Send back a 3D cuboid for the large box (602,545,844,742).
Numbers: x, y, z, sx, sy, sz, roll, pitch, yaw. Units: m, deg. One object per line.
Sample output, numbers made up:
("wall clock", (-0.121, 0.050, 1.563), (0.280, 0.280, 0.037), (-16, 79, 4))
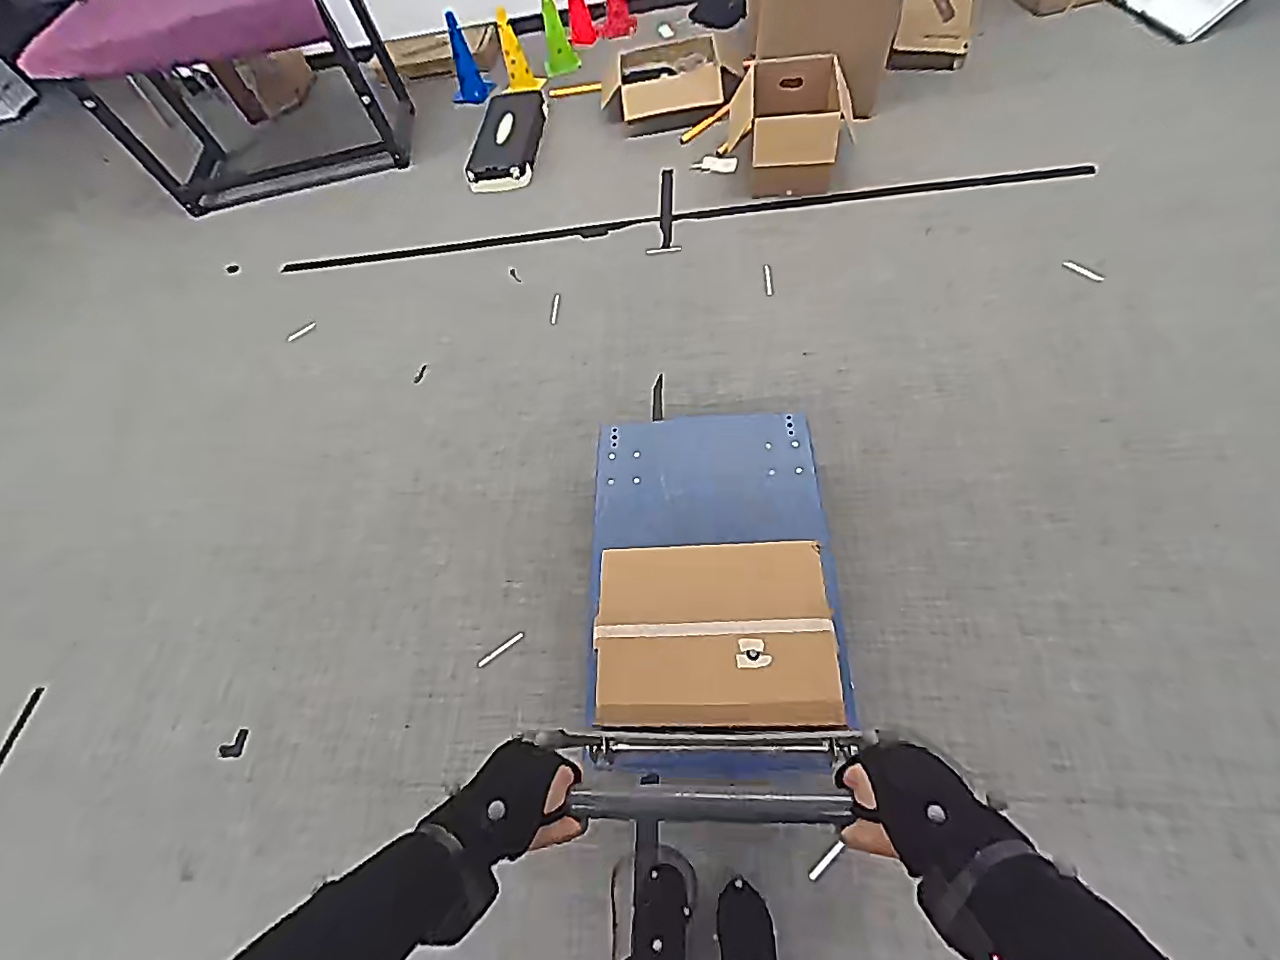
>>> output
("large box", (0.147, 0.341, 1.085), (0.408, 0.320, 0.320), (-4, 62, 6))
